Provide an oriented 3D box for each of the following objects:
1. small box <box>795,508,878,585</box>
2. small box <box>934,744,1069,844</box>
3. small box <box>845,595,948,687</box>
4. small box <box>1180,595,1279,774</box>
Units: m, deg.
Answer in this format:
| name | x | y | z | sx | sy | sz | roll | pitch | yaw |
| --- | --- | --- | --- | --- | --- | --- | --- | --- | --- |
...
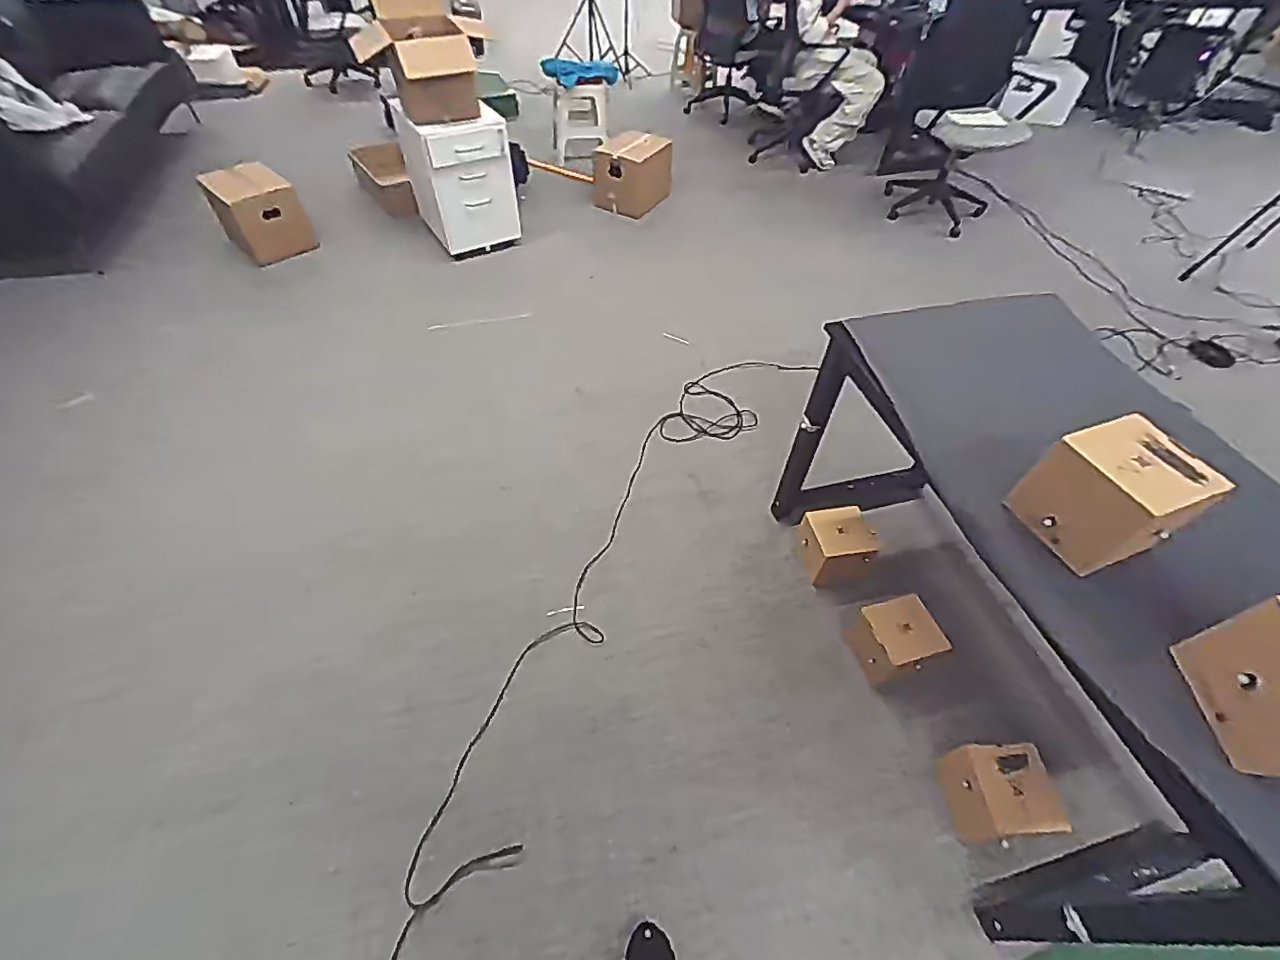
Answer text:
| name | x | y | z | sx | sy | sz | roll | pitch | yaw |
| --- | --- | --- | --- | --- | --- | --- | --- | --- | --- |
| small box | 0.595 | 0.208 | 1.672 | 0.179 | 0.176 | 0.168 | -6 | 50 | -8 |
| small box | 0.815 | 0.724 | 1.244 | 0.168 | 0.176 | 0.179 | 0 | 51 | -2 |
| small box | 0.686 | 0.442 | 1.477 | 0.179 | 0.176 | 0.168 | -11 | 52 | -13 |
| small box | 0.848 | 0.265 | 0.675 | 0.179 | 0.176 | 0.168 | 8 | 50 | 1 |
